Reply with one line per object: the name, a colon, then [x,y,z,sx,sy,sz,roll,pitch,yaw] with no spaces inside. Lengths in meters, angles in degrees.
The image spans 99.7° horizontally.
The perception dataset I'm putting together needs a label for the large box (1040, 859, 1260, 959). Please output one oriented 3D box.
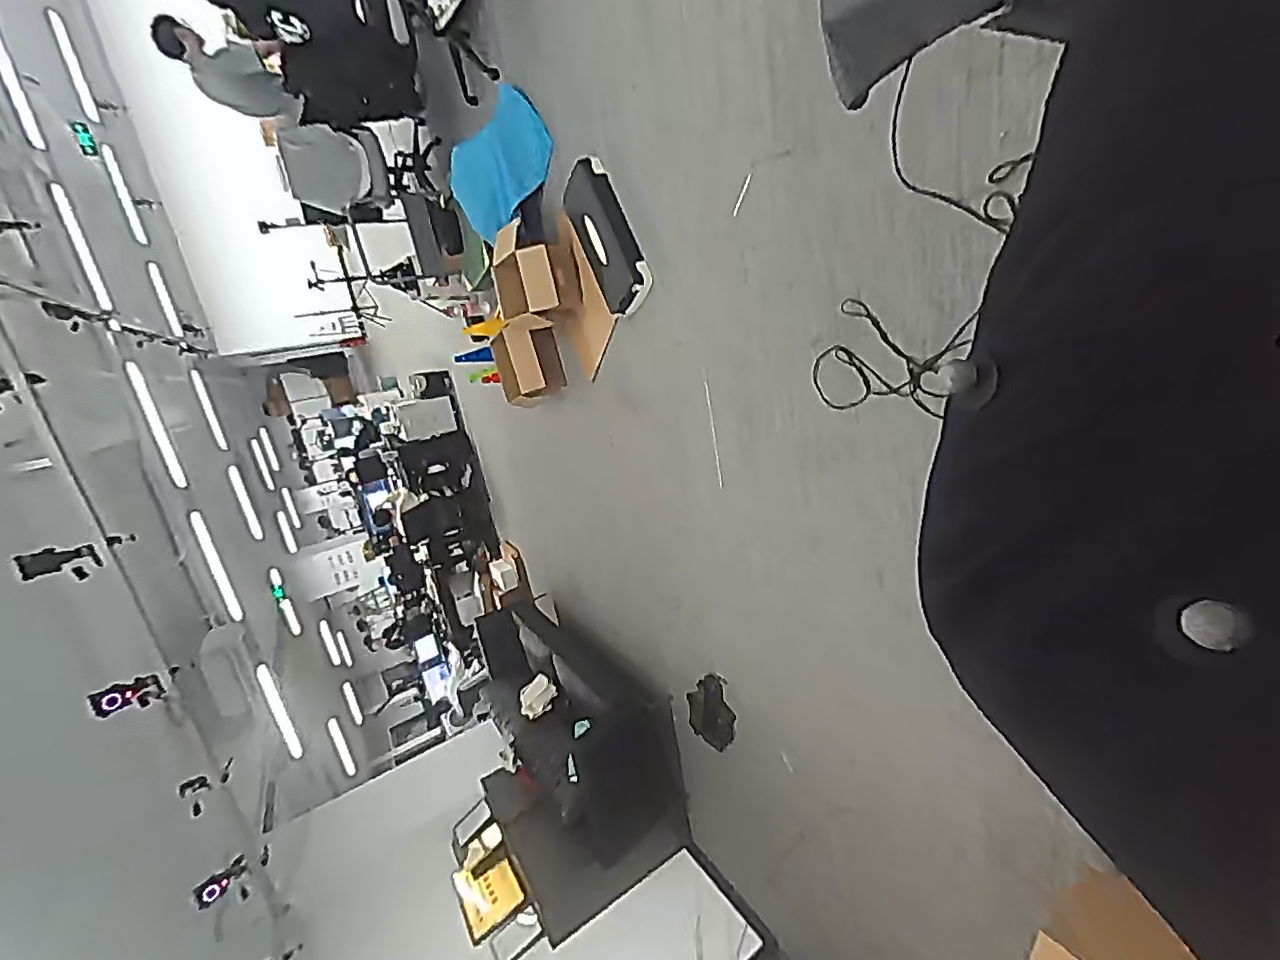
large box: [1.213,1.211,1.238,0.408,0.320,0.320,27,129,54]
